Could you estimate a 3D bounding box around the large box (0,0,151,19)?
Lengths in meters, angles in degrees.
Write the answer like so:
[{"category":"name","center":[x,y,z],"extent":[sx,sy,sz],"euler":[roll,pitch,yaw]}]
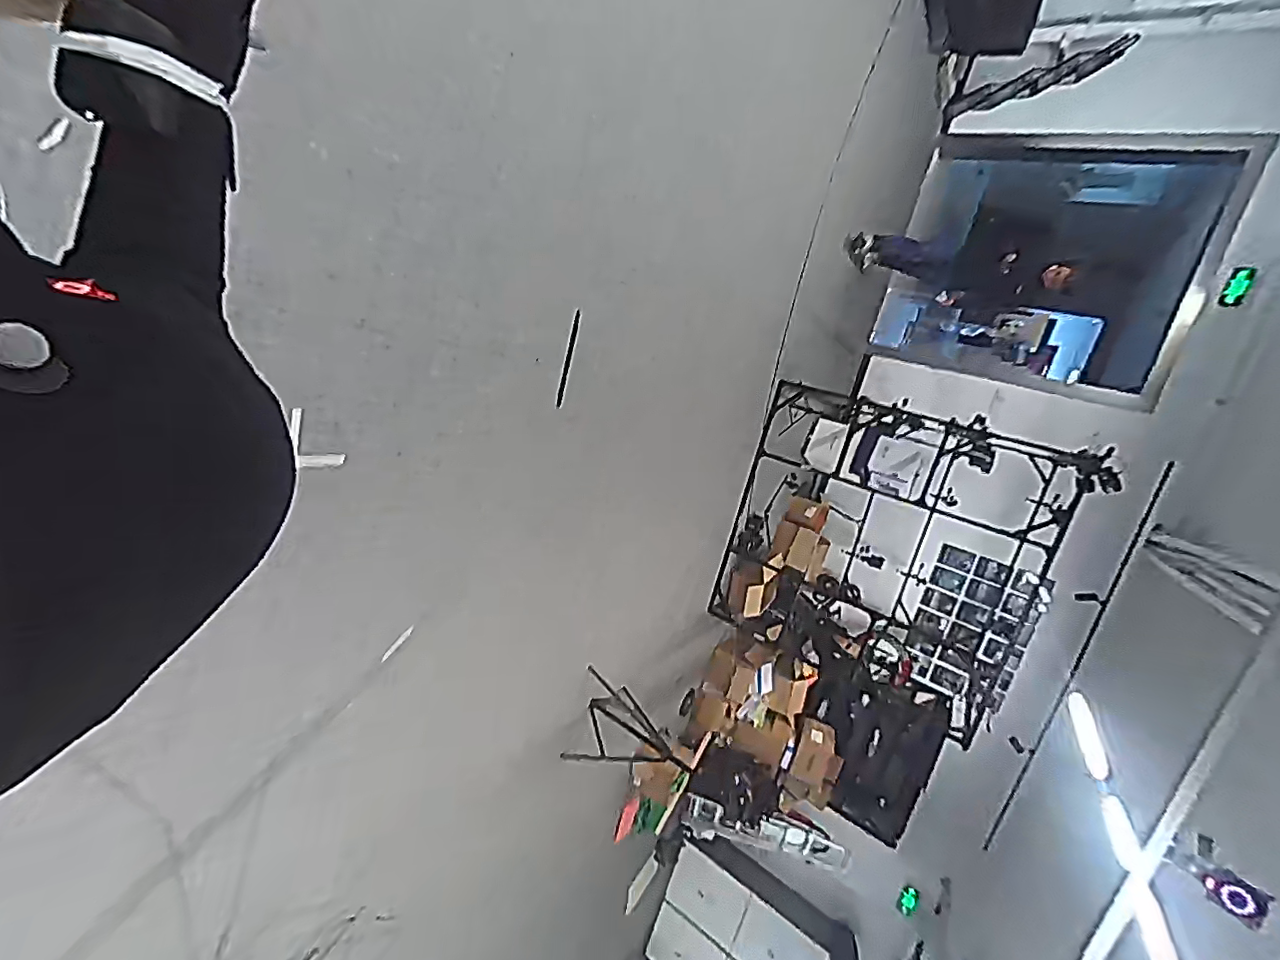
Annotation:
[{"category":"large box","center":[-0.492,-0.483,0.205],"extent":[0.408,0.320,0.320],"euler":[-7,119,-63]}]
